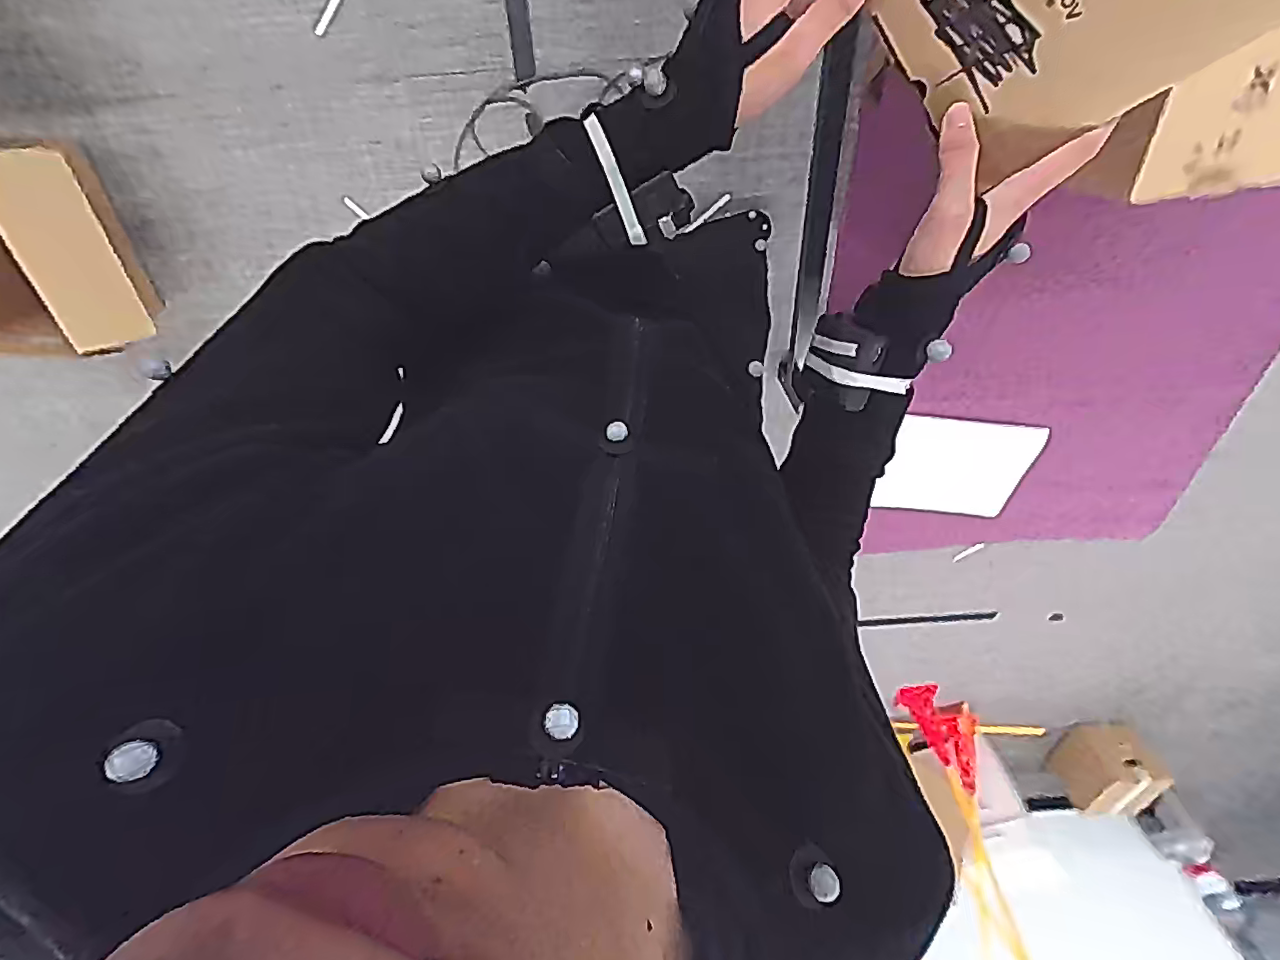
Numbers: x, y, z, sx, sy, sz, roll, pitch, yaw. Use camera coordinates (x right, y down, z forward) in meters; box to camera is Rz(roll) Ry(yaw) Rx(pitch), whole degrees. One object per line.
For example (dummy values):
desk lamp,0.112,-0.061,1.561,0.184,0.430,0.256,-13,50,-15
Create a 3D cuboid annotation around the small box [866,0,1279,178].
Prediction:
small box,0.242,-0.328,0.306,0.168,0.176,0.179,37,144,-26
